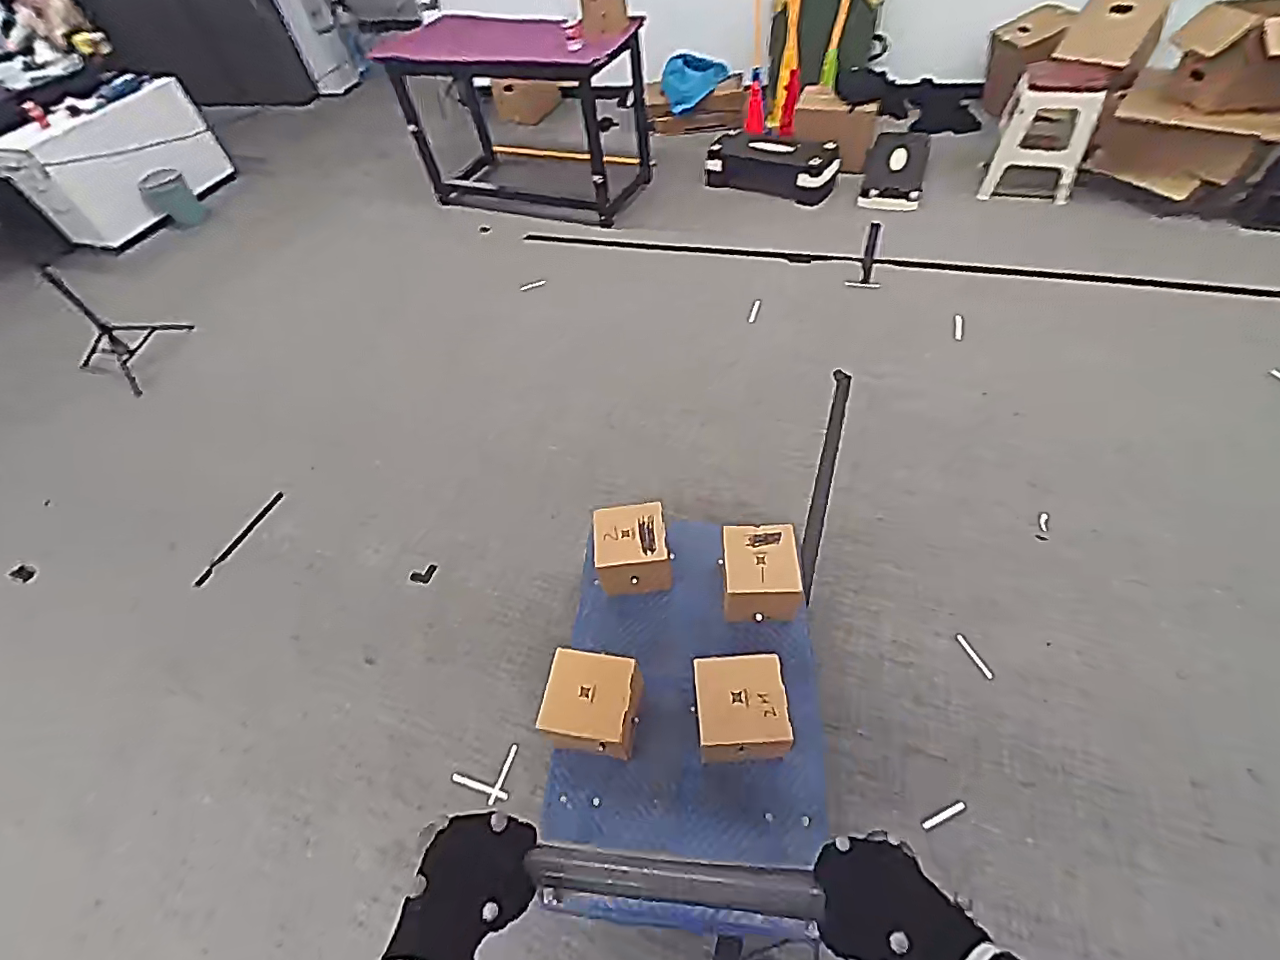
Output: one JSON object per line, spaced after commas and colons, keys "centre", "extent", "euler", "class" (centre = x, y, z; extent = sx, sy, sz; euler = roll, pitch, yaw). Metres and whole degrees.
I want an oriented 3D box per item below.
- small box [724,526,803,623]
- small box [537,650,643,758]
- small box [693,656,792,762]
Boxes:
{"centre": [0.288, 0.227, 1.296], "extent": [0.168, 0.176, 0.179], "euler": [-3, 54, 7], "class": "small box"}
{"centre": [-0.098, 0.484, 1.161], "extent": [0.179, 0.176, 0.168], "euler": [5, 54, 10], "class": "small box"}
{"centre": [0.208, 0.478, 1.119], "extent": [0.179, 0.176, 0.168], "euler": [-5, 53, 5], "class": "small box"}
